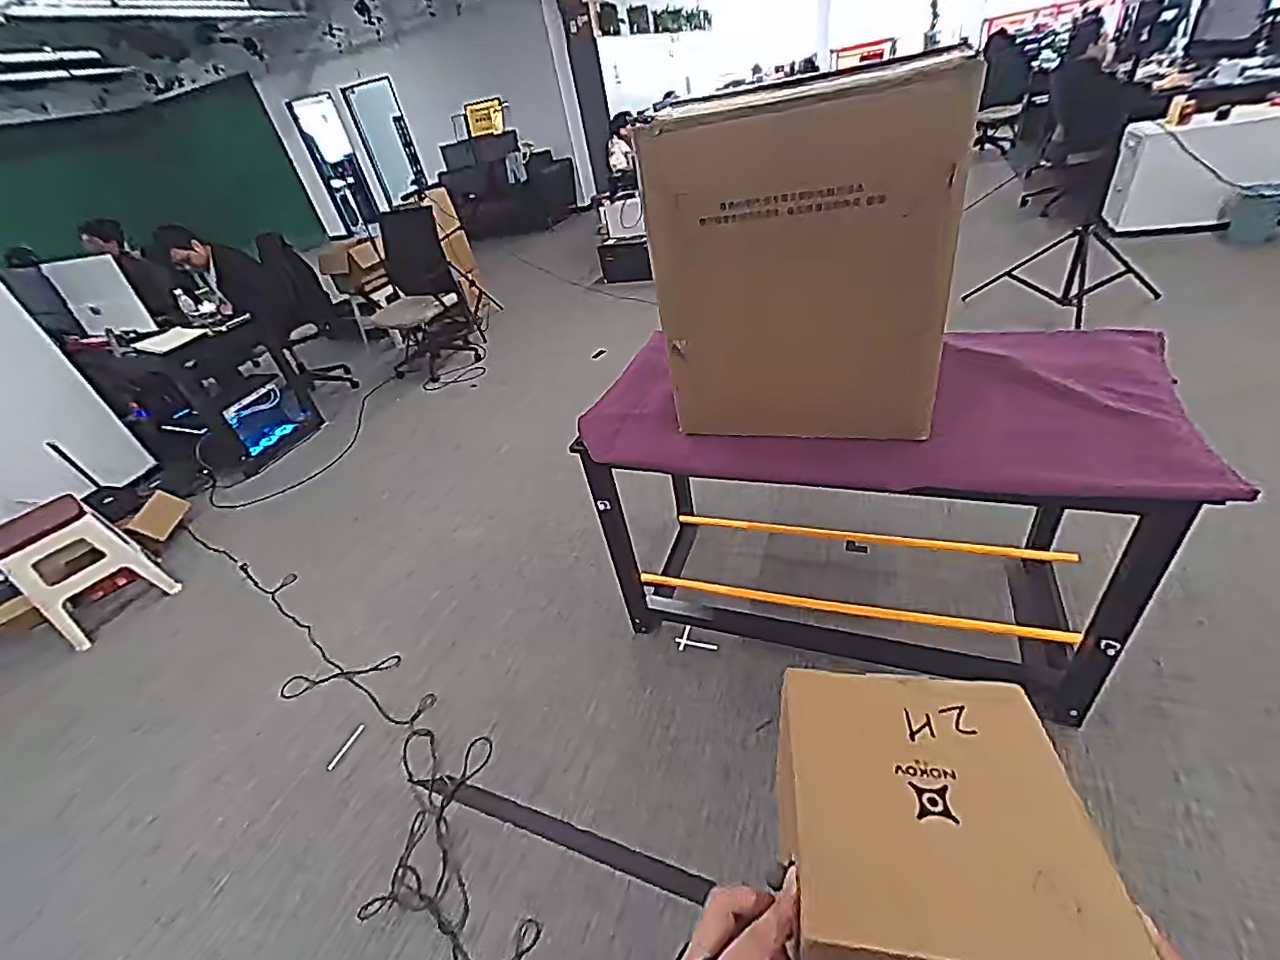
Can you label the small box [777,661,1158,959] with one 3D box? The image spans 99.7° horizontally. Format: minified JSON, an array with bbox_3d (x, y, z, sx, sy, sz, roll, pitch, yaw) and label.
[{"bbox_3d":[0.185,0.255,0.374,0.168,0.176,0.179,1,31,10],"label":"small box"}]
